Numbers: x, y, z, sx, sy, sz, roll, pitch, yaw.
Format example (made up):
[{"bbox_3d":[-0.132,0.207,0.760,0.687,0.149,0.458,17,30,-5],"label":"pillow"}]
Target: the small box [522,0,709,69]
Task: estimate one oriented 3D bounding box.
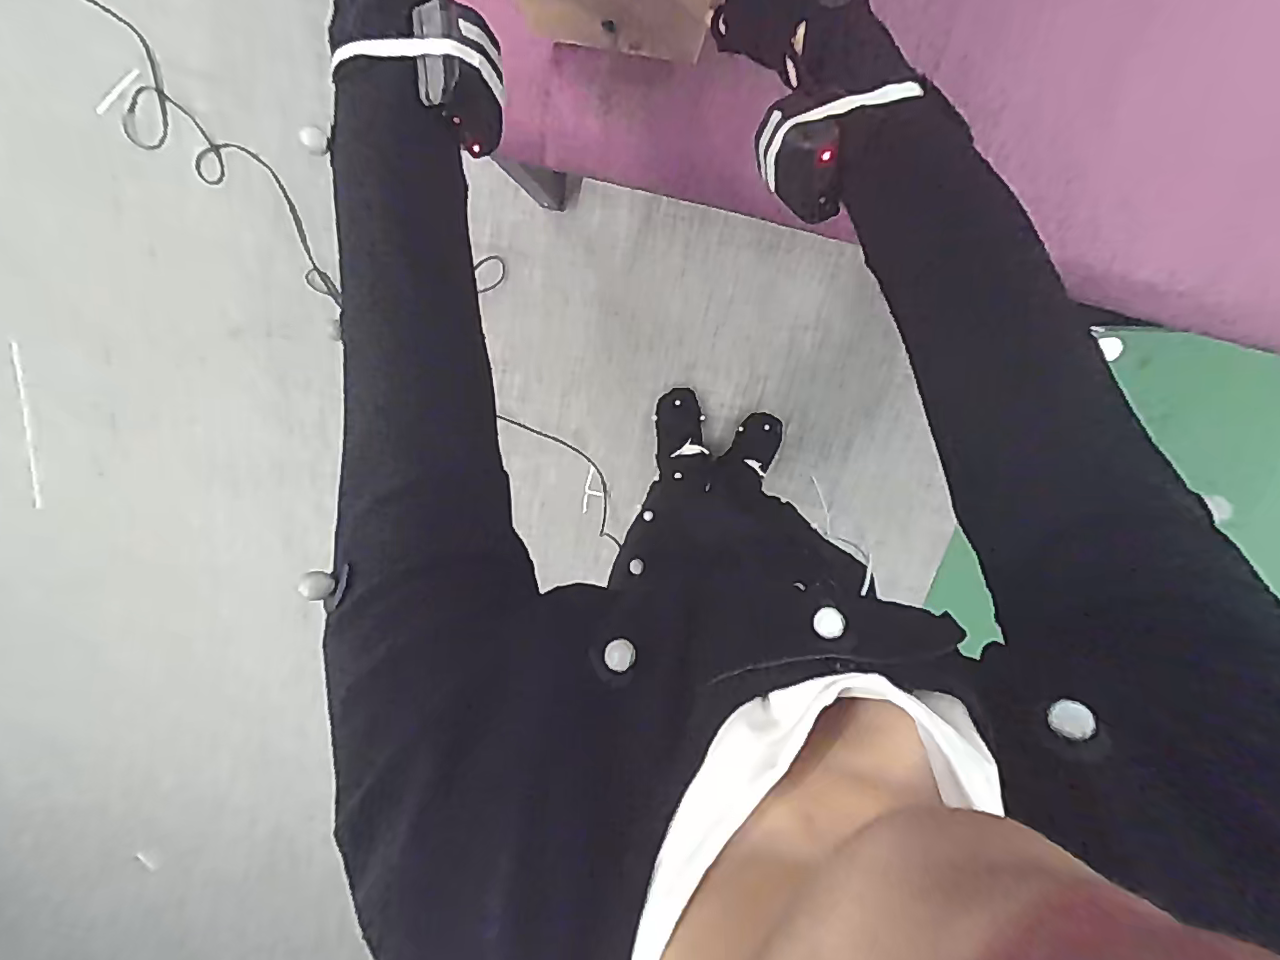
[{"bbox_3d":[-0.016,-0.479,0.438,0.168,0.176,0.179,8,110,-4],"label":"small box"}]
